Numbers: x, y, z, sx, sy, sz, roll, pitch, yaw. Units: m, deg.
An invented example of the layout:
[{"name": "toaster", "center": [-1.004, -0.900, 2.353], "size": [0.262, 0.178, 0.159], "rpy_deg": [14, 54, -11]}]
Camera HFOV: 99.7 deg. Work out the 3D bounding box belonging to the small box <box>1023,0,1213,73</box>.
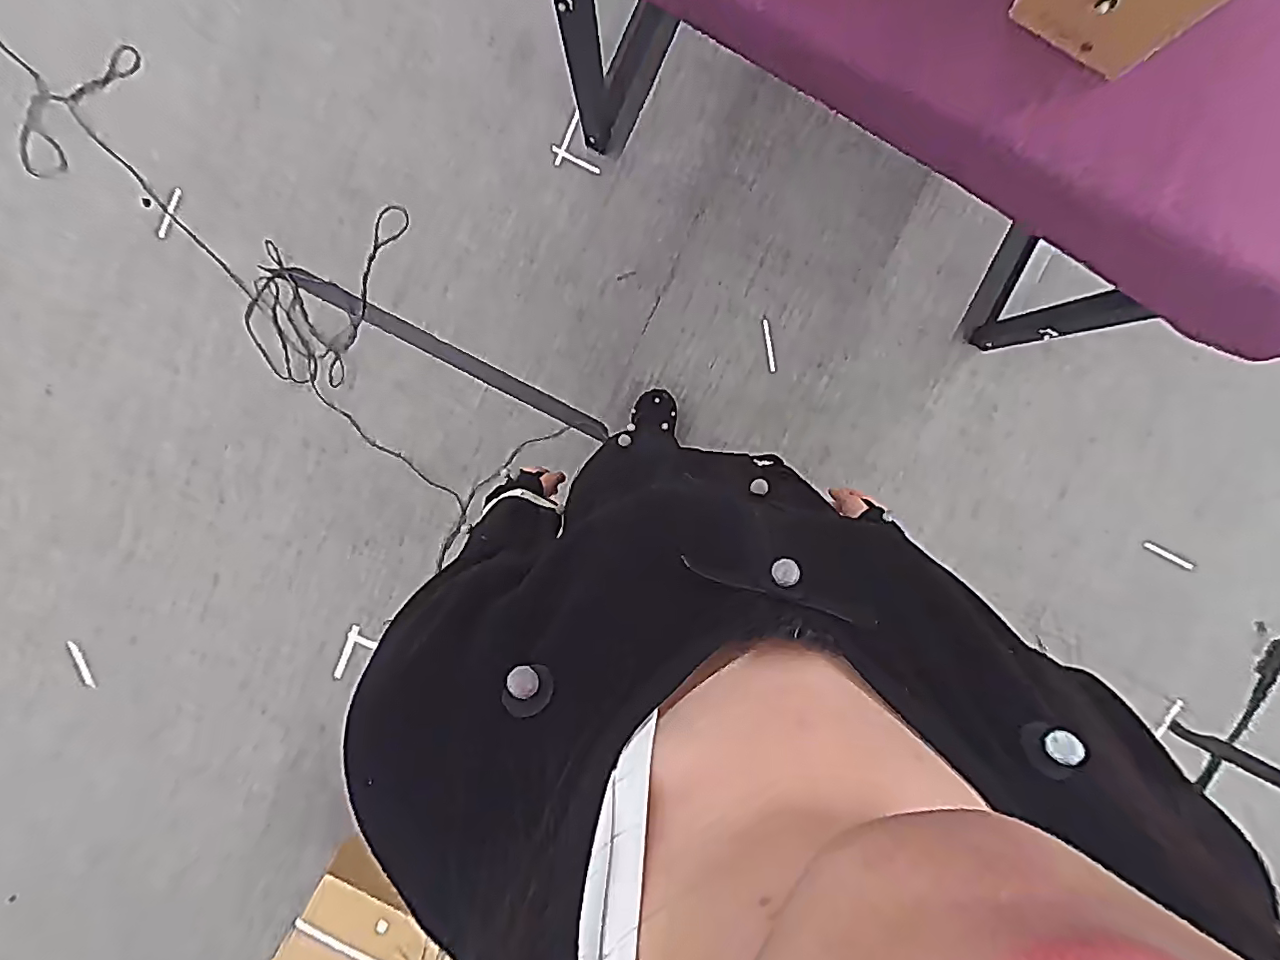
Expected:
[{"name": "small box", "center": [0.582, -0.620, 0.608], "size": [0.168, 0.176, 0.179], "rpy_deg": [29, 96, -4]}]
